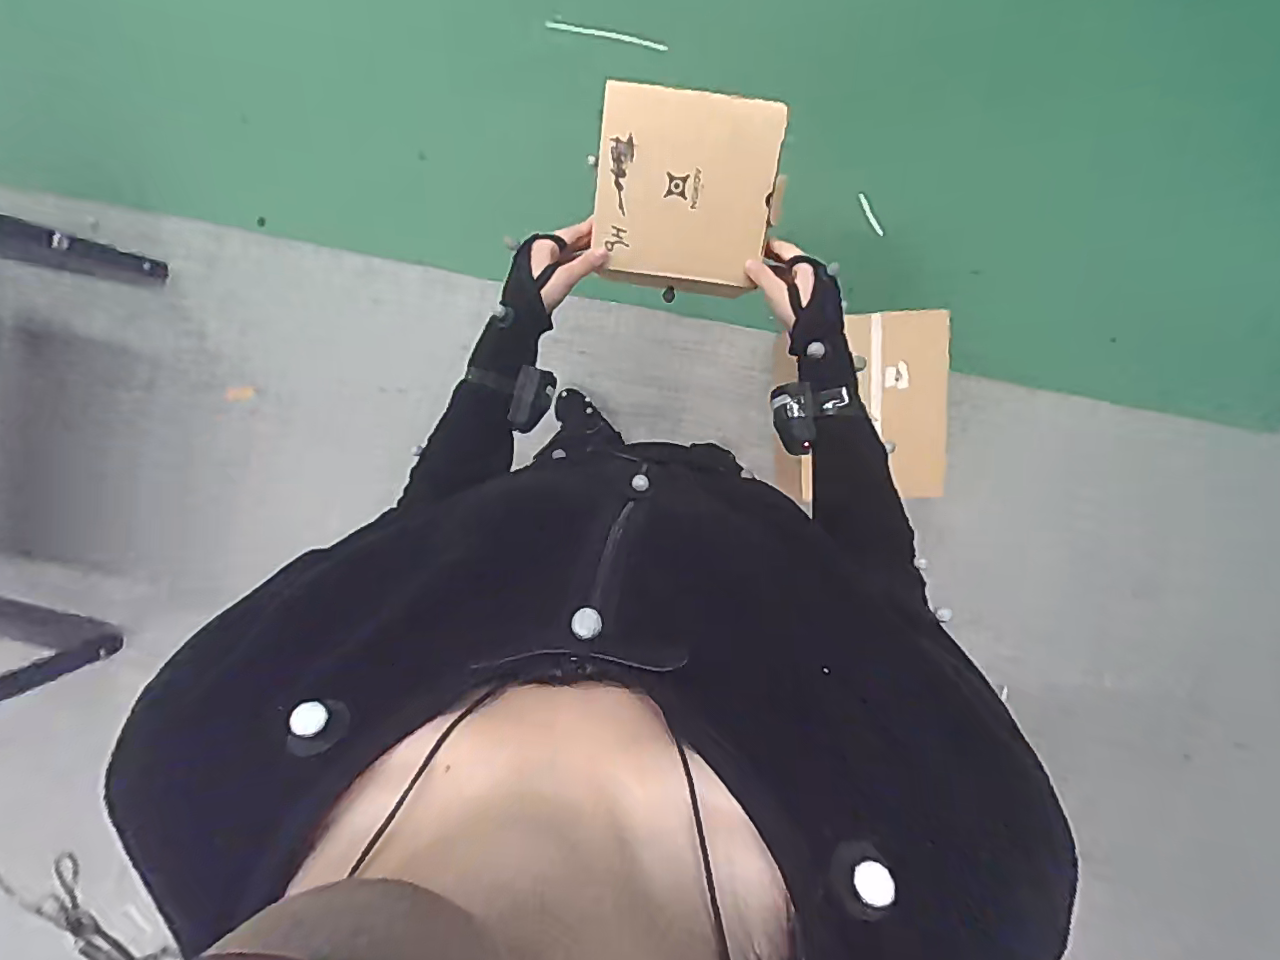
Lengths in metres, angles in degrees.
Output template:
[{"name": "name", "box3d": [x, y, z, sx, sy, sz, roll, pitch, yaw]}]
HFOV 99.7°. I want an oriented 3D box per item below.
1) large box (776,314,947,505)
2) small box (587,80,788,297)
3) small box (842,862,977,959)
[{"name": "large box", "box3d": [0.514, -0.160, 1.316, 0.320, 0.320, 0.408, -2, 95, 3]}, {"name": "small box", "box3d": [0.043, -0.302, 0.599, 0.179, 0.176, 0.168, 7, 104, -1]}, {"name": "small box", "box3d": [0.584, 0.999, 1.191, 0.179, 0.176, 0.168, 31, 97, -2]}]
